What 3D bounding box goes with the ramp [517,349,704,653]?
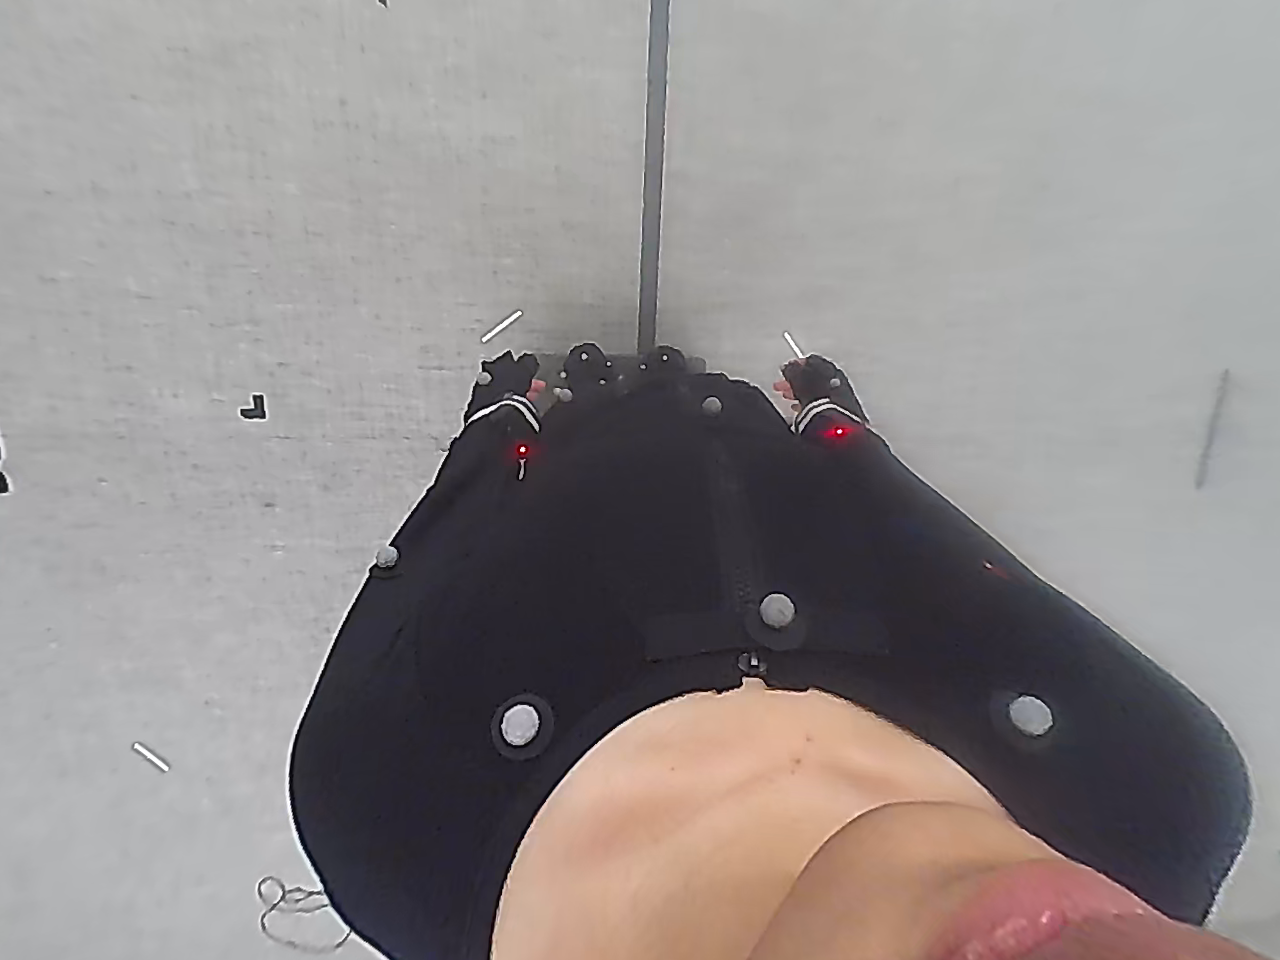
[{"bbox_3d":[-0.083,0.117,1.606,0.509,0.206,0.991,-2,104,-4],"label":"ramp"}]
